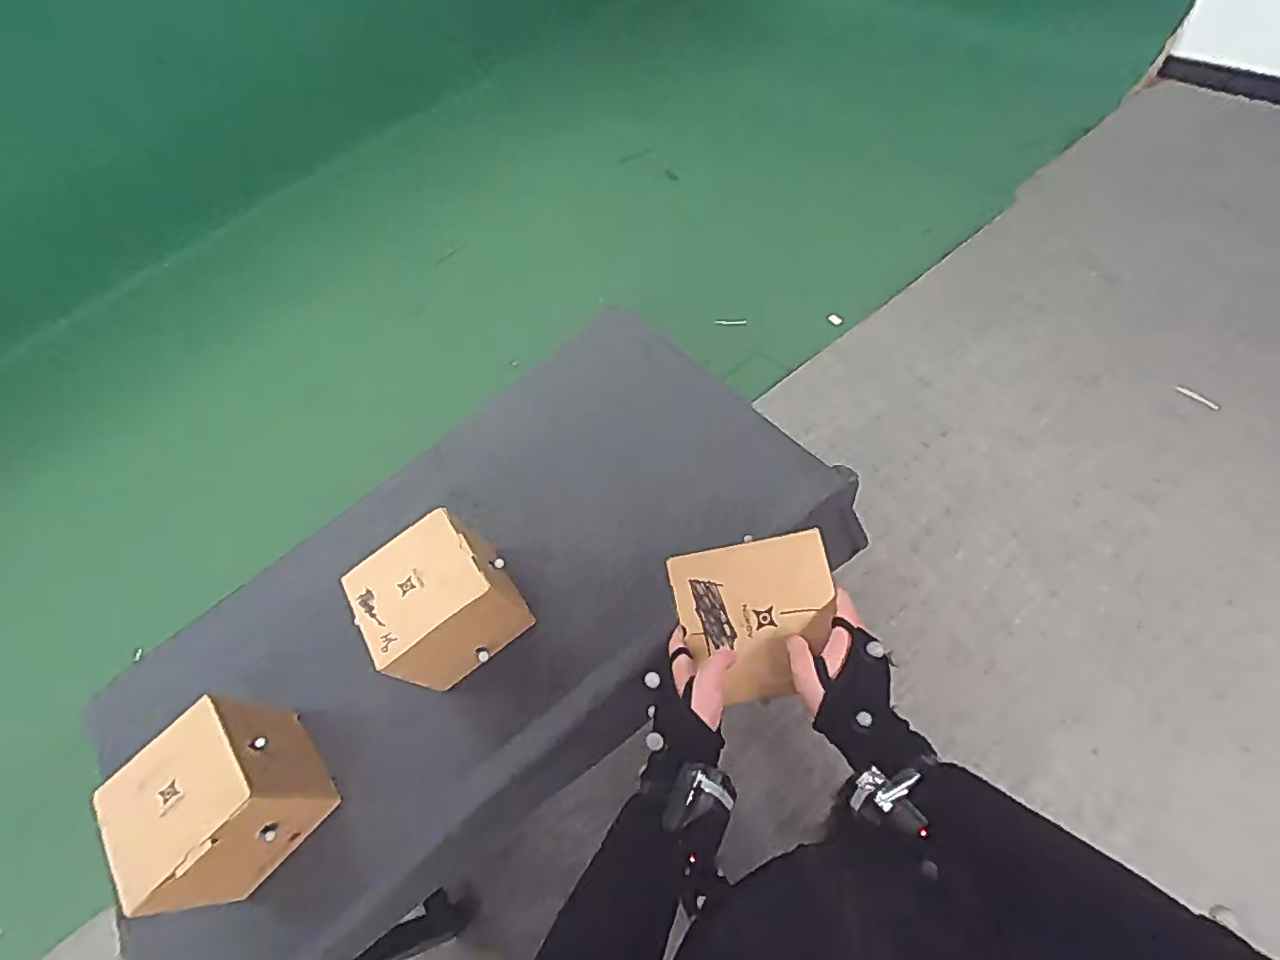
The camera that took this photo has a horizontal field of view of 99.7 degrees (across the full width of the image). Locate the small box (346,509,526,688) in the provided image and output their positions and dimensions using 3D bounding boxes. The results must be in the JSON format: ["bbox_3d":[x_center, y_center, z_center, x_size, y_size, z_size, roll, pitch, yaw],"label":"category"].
[{"bbox_3d":[-0.292,0.182,0.812,0.179,0.176,0.168,-36,58,-9],"label":"small box"}]

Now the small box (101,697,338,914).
[{"bbox_3d":[-0.555,0.430,0.733,0.179,0.176,0.168,36,72,30],"label":"small box"}]

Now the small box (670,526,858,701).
[{"bbox_3d":[0.148,0.161,0.663,0.179,0.176,0.168,-13,76,11],"label":"small box"}]
